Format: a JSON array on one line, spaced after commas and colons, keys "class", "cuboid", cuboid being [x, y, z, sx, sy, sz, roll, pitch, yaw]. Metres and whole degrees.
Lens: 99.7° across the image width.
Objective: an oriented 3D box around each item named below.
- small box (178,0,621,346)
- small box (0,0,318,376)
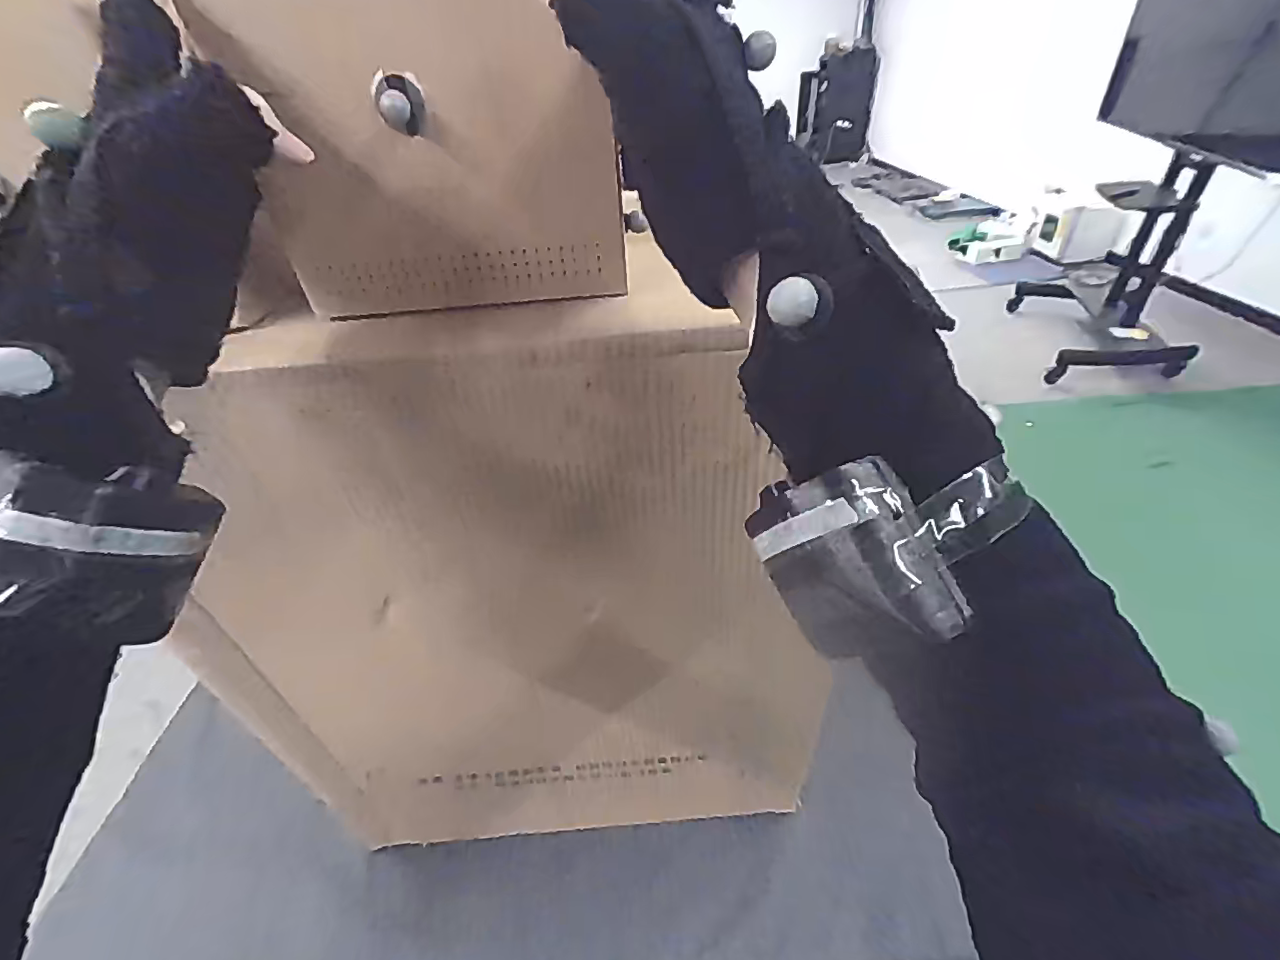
[{"class": "small box", "cuboid": [-0.102, -0.195, 0.328, 0.179, 0.176, 0.168, -4, 39, 0]}, {"class": "small box", "cuboid": [-0.309, -0.175, 0.331, 0.168, 0.176, 0.179, -10, 40, -3]}]
